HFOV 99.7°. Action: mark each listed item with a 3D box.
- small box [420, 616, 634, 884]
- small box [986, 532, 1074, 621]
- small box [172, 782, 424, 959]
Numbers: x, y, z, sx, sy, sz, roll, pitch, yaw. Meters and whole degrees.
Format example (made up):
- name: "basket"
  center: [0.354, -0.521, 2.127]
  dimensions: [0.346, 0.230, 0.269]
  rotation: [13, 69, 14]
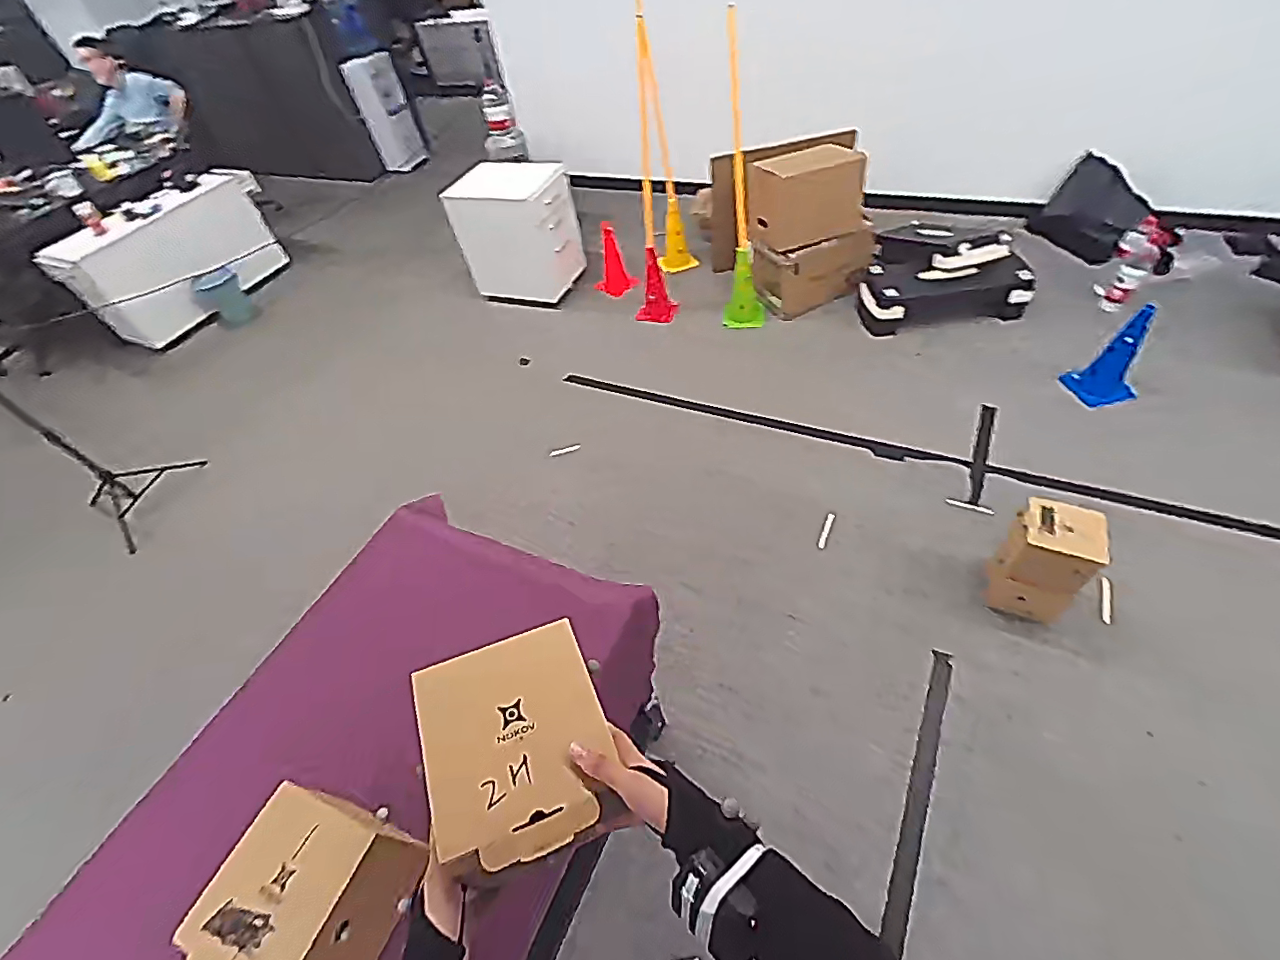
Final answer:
- name: "small box"
  center: [-0.115, 0.279, 0.563]
  dimensions: [0.168, 0.176, 0.179]
  rotation: [-16, 49, -16]
- name: "small box"
  center: [1.129, 0.284, 1.575]
  dimensions: [0.168, 0.176, 0.179]
  rotation: [13, 54, 20]
- name: "small box"
  center: [-0.414, 0.526, 0.690]
  dimensions: [0.168, 0.176, 0.179]
  rotation: [13, 53, 20]
